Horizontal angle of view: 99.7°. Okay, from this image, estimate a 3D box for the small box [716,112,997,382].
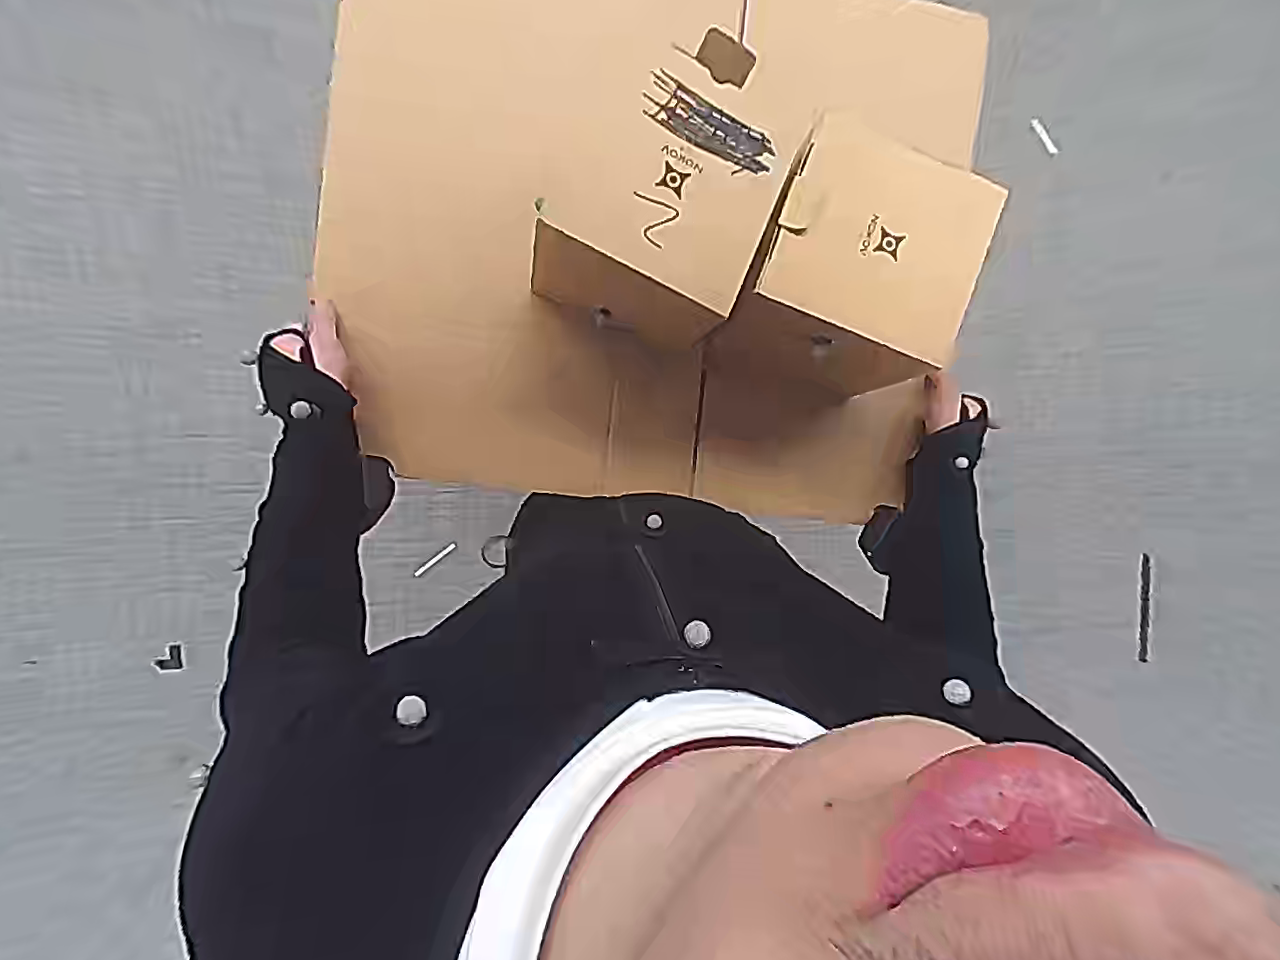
[{"bbox_3d":[0.196,-0.207,0.541,0.179,0.176,0.168,20,89,-4],"label":"small box"}]
